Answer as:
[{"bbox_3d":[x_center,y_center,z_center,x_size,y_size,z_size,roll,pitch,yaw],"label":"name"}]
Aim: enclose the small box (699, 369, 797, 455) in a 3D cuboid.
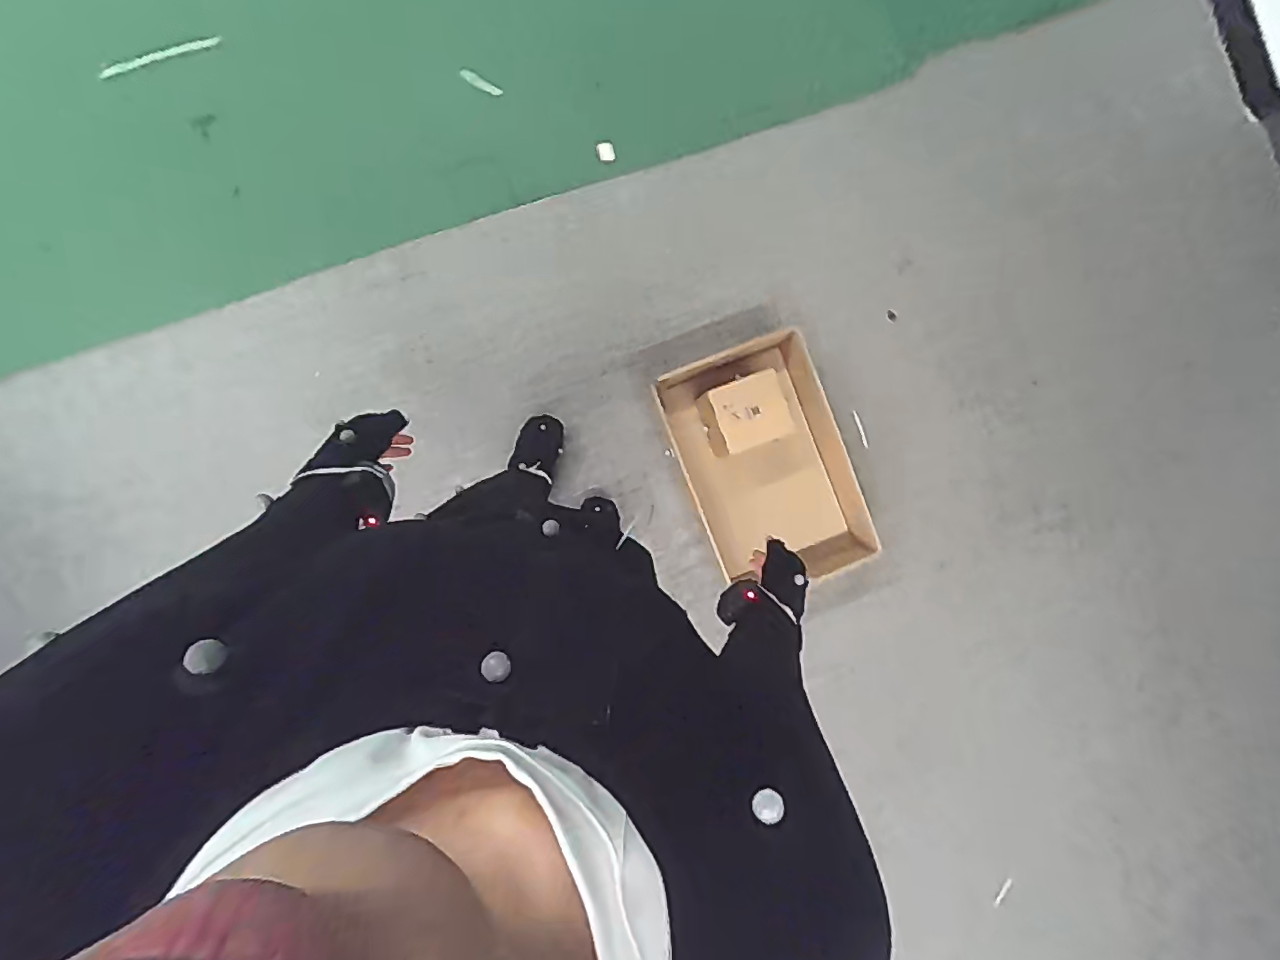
[{"bbox_3d":[0.266,-0.167,1.368,0.179,0.176,0.168,-20,93,-4],"label":"small box"}]
